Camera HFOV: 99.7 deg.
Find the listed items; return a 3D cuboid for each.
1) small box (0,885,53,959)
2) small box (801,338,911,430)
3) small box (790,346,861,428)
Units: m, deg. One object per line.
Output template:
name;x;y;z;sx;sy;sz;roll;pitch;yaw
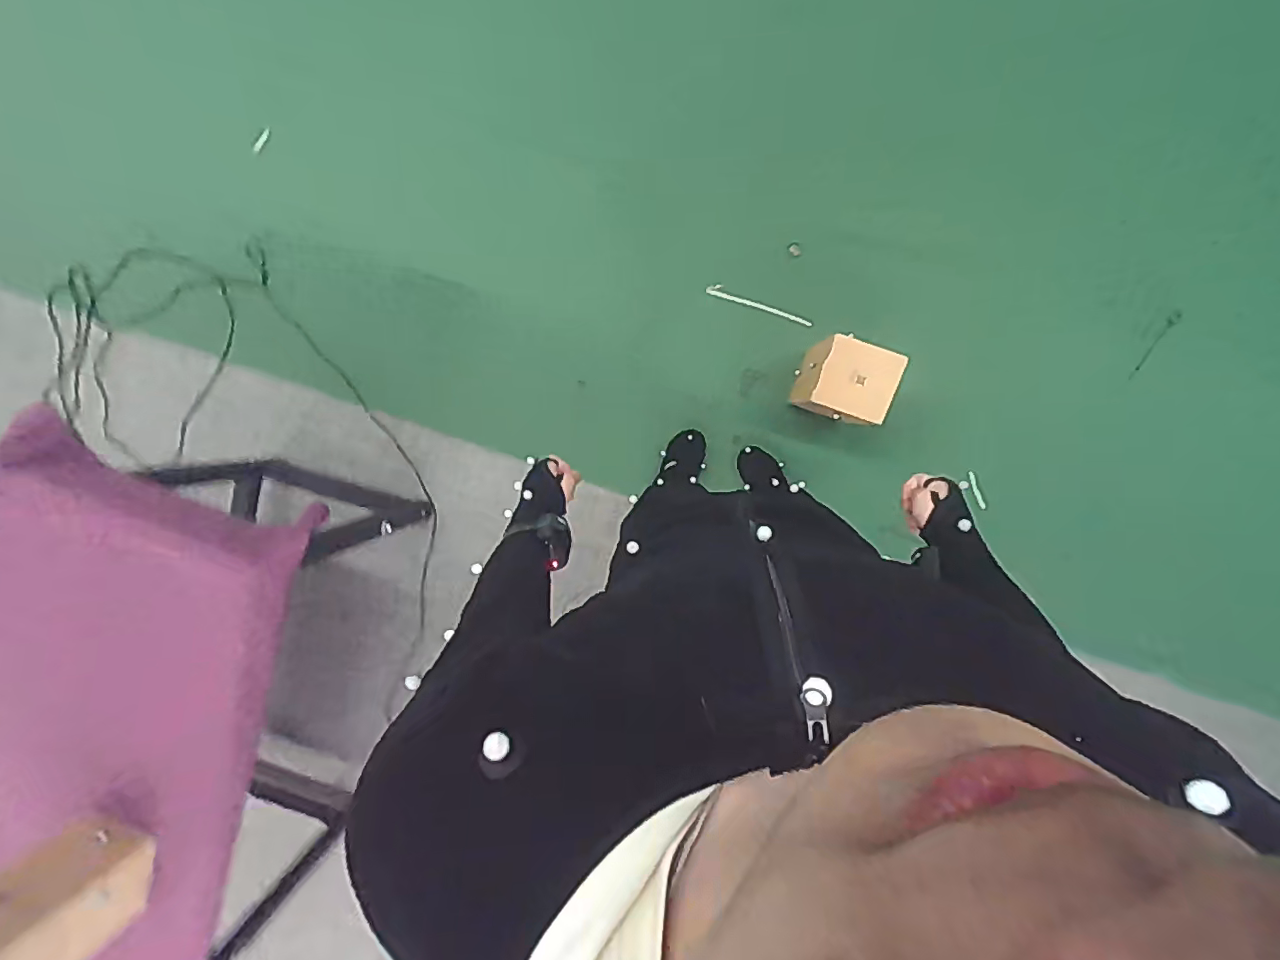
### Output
small box;-1.139;0.814;0.889;0.168;0.176;0.179;18;98;5
small box;0.515;-0.230;1.317;0.179;0.176;0.168;20;98;4
small box;0.533;-0.252;1.477;0.179;0.176;0.168;21;98;3
